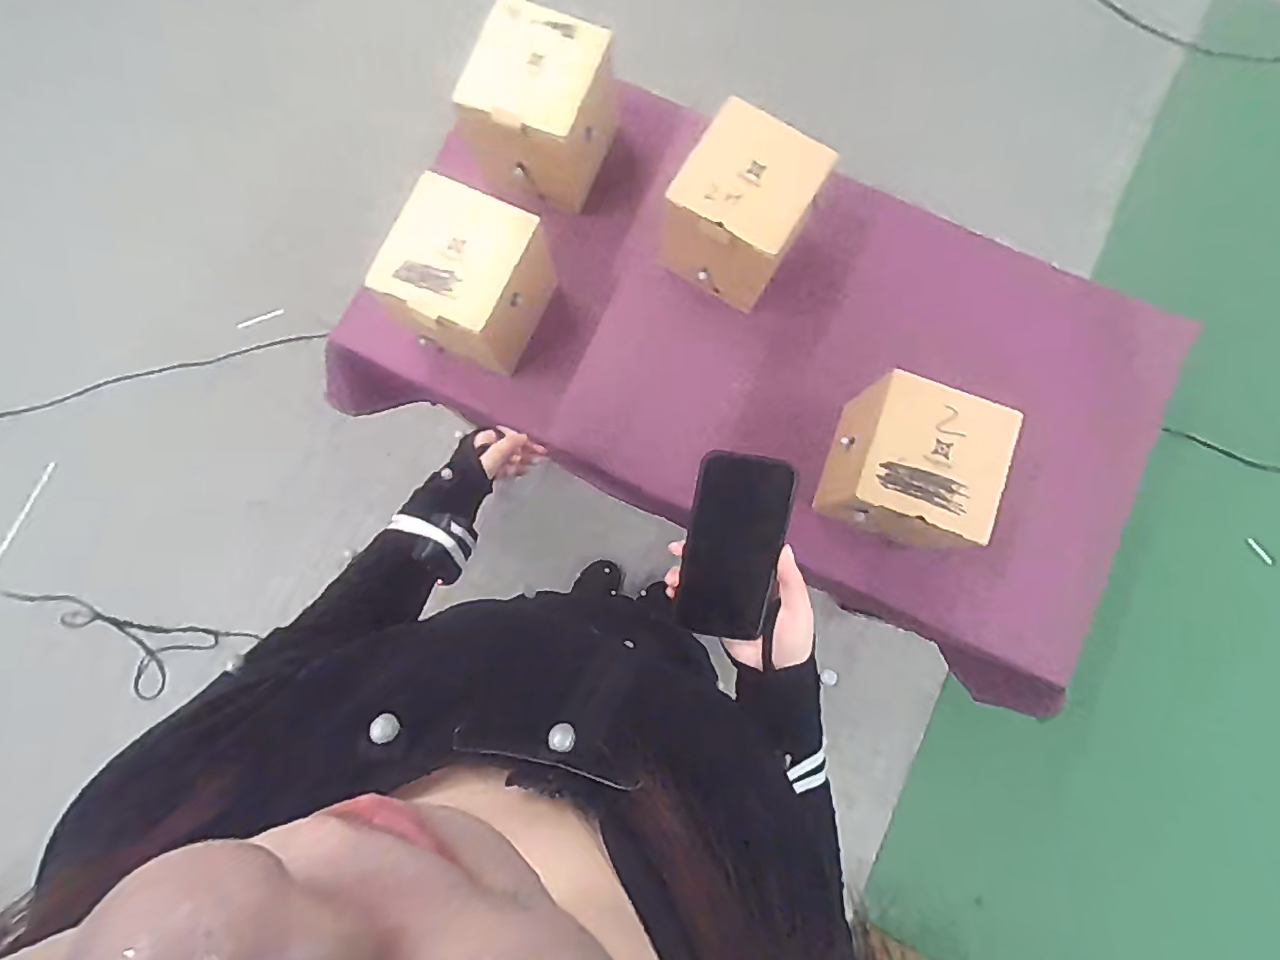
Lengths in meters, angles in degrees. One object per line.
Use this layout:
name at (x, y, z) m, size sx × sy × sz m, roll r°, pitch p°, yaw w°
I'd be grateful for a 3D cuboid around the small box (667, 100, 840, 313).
small box at (0.149, -0.380, 0.779) m, size 0.168 × 0.176 × 0.179 m, roll 32°, pitch 84°, yaw 4°

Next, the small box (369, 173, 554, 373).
small box at (-0.234, -0.277, 0.765) m, size 0.168 × 0.176 × 0.179 m, roll 25°, pitch 81°, yaw 3°

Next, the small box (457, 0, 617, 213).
small box at (-0.138, -0.537, 0.800) m, size 0.168 × 0.176 × 0.179 m, roll 22°, pitch 84°, yaw 2°
